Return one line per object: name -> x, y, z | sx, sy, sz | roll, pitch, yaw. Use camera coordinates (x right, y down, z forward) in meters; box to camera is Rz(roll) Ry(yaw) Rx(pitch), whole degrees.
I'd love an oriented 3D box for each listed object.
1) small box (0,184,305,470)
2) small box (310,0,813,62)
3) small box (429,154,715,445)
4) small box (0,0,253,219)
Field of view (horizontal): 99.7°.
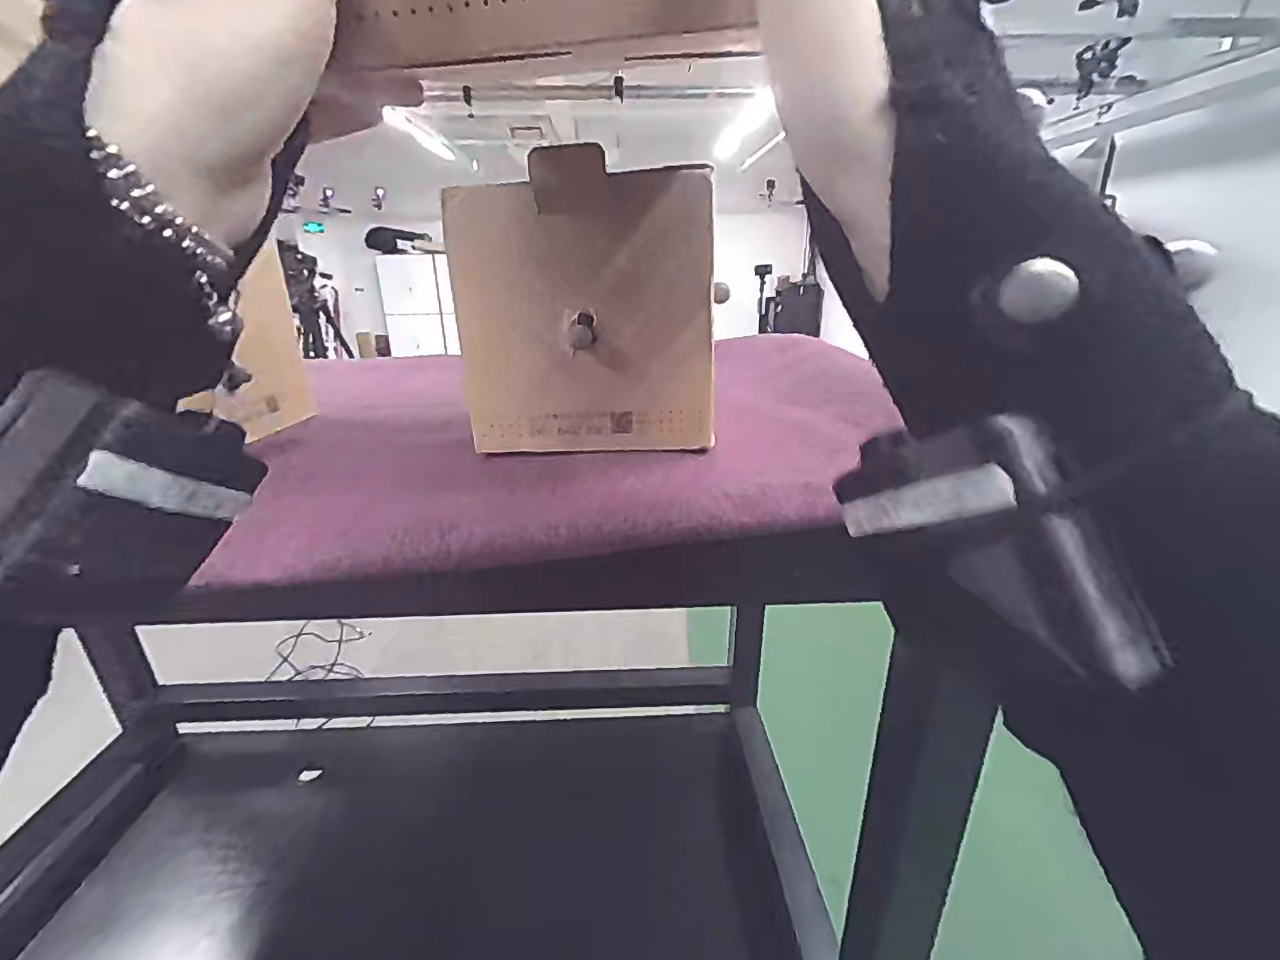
small box -> -0.391, -0.108, 0.398 | 0.179, 0.176, 0.168 | -2, 20, -1
small box -> -0.025, -0.257, 0.189 | 0.179, 0.176, 0.168 | 0, 36, 7
small box -> -0.029, -0.125, 0.408 | 0.168, 0.176, 0.179 | -1, 19, 6
small box -> -0.388, -0.260, 0.342 | 0.168, 0.176, 0.179 | -1, 19, -4
